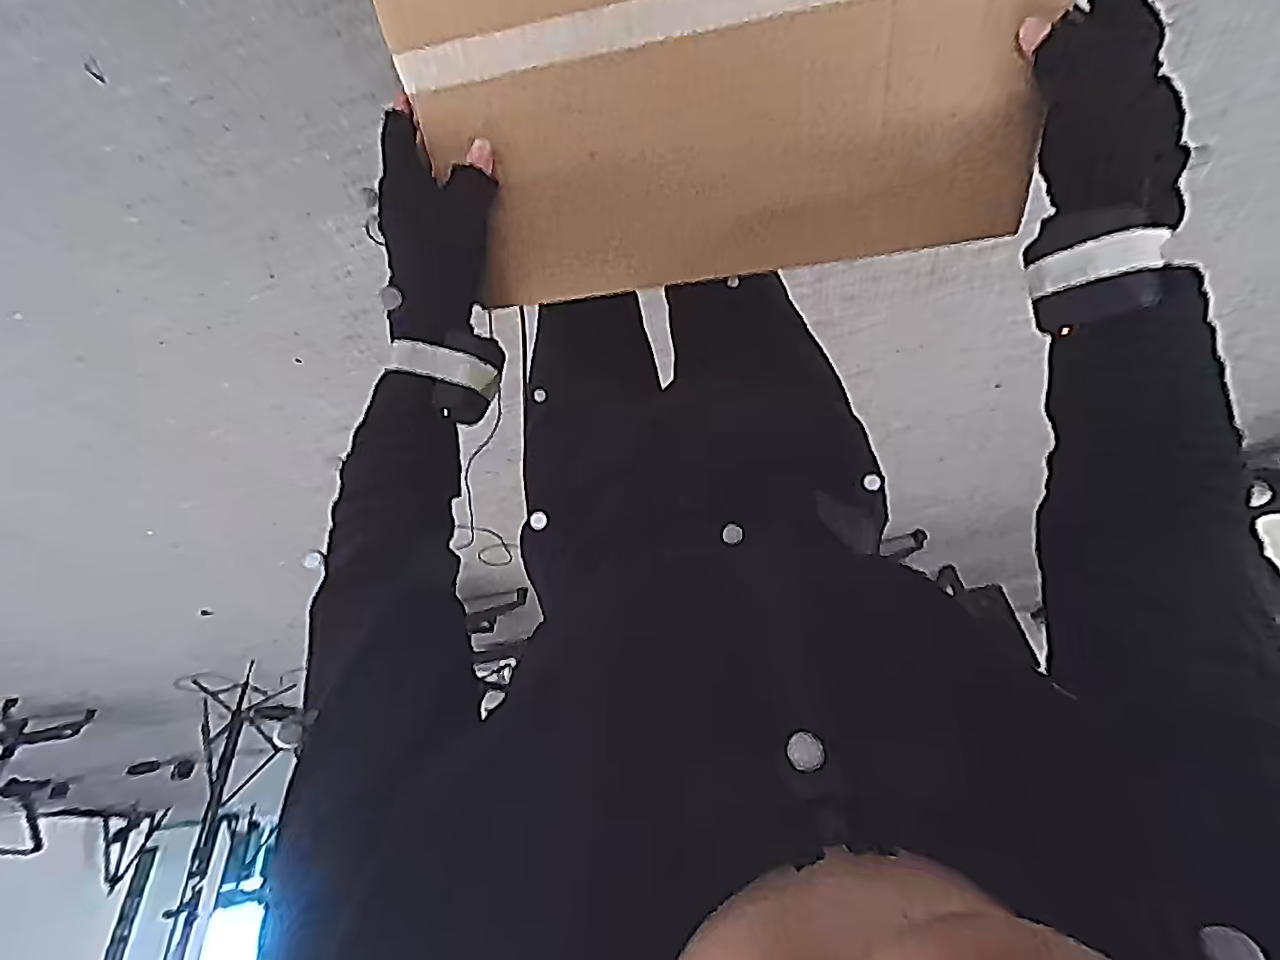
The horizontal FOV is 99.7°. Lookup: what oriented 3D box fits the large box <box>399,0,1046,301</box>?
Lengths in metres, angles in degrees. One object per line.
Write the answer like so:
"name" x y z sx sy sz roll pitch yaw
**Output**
"large box" 0.054 -0.378 0.461 0.408 0.320 0.320 -5 125 8
